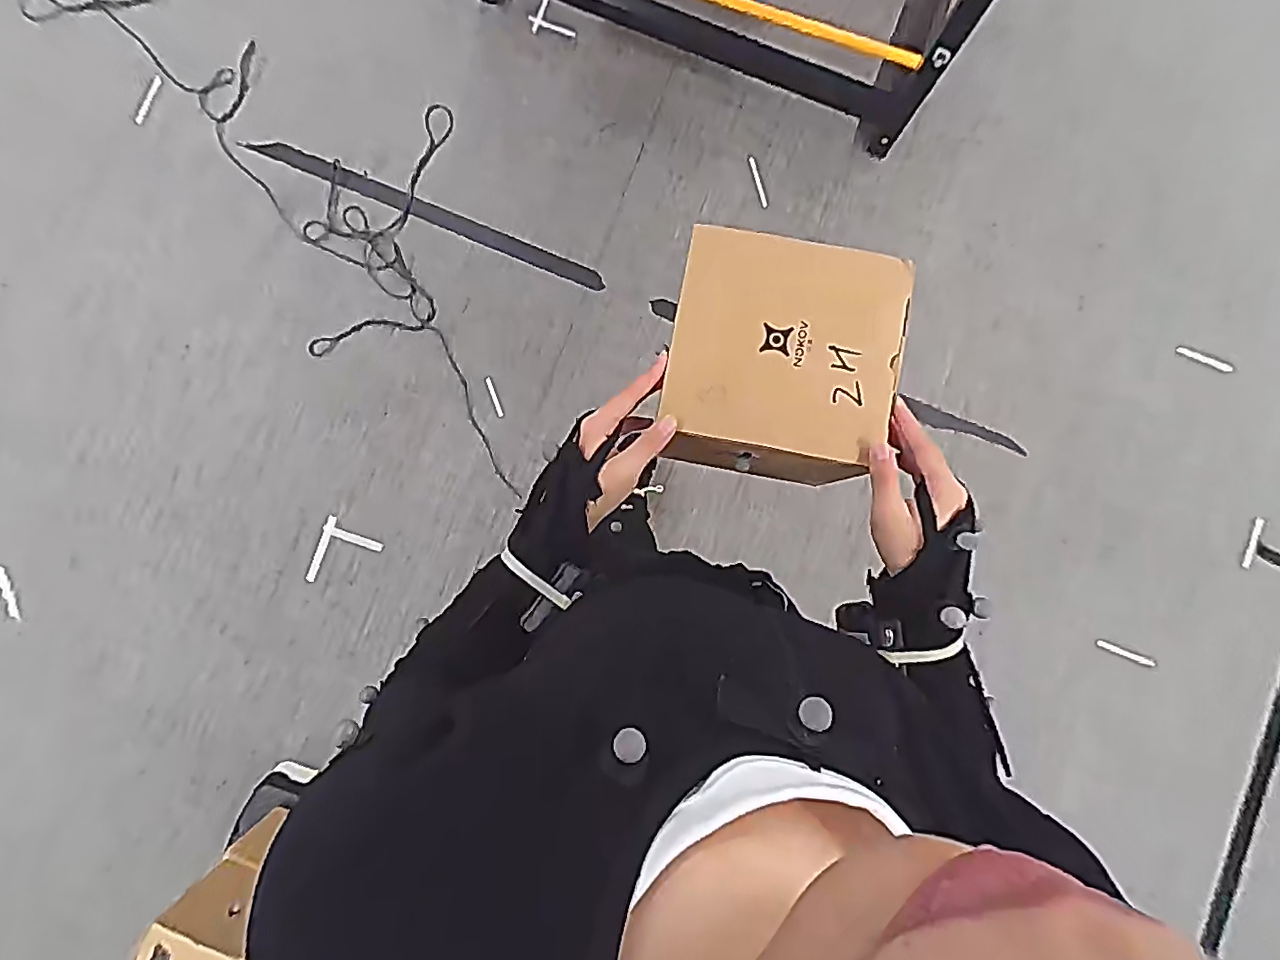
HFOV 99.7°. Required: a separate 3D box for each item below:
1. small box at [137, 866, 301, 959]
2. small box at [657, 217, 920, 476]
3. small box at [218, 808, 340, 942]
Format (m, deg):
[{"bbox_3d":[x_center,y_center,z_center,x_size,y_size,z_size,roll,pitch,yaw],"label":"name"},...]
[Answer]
[{"bbox_3d":[-0.782,0.862,0.997,0.179,0.176,0.168,25,87,-1],"label":"small box"},{"bbox_3d":[0.114,-0.101,0.486,0.179,0.176,0.168,11,86,2],"label":"small box"},{"bbox_3d":[-0.784,0.856,1.162,0.168,0.176,0.179,19,86,0],"label":"small box"}]
